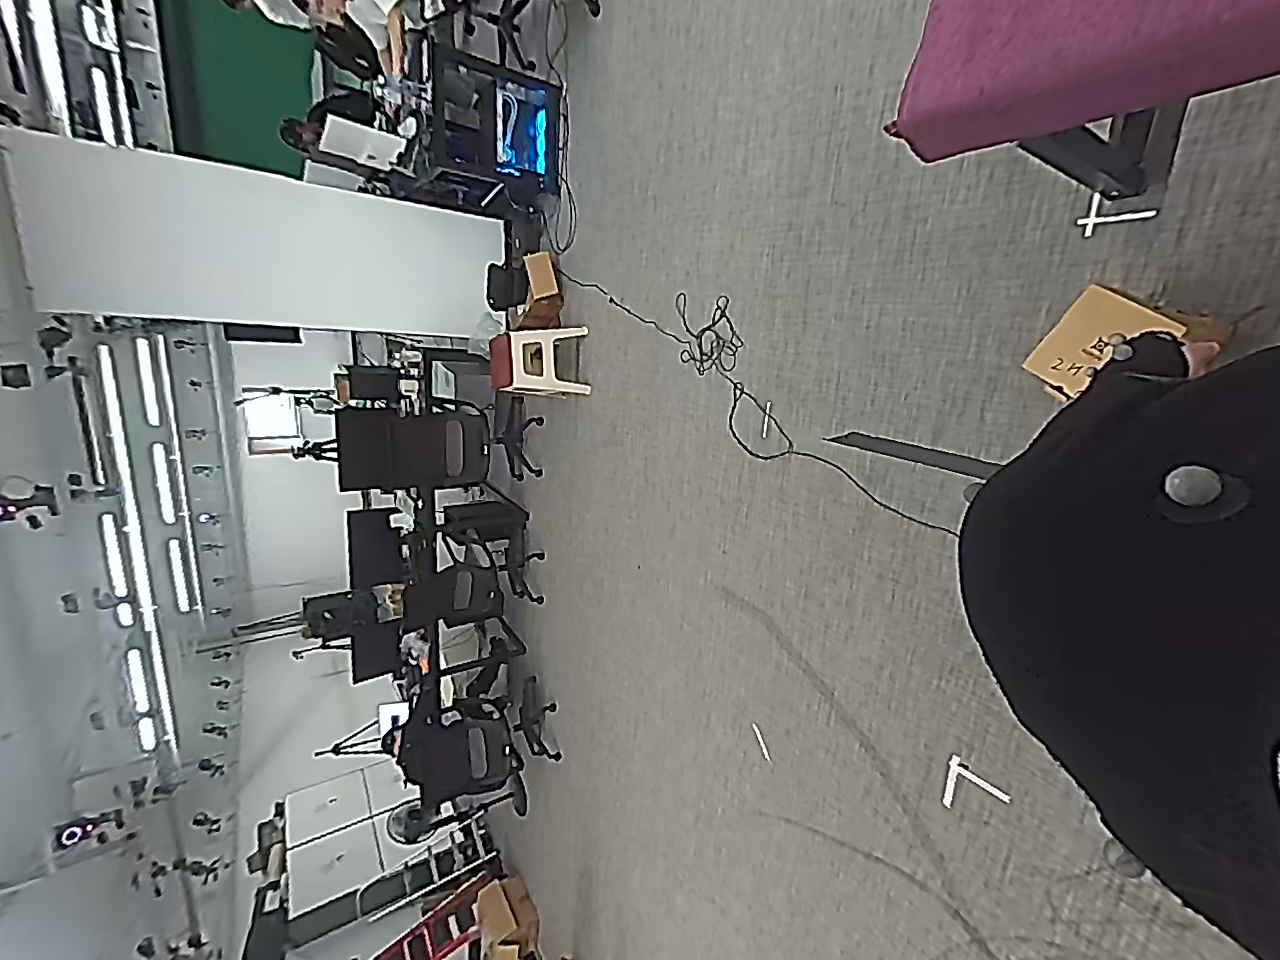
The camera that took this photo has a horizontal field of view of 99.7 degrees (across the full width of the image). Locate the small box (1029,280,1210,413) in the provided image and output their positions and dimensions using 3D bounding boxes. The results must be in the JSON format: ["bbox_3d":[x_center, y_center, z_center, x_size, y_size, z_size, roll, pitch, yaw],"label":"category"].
[{"bbox_3d":[0.880,-0.242,0.993,0.168,0.176,0.179,55,138,36],"label":"small box"}]
